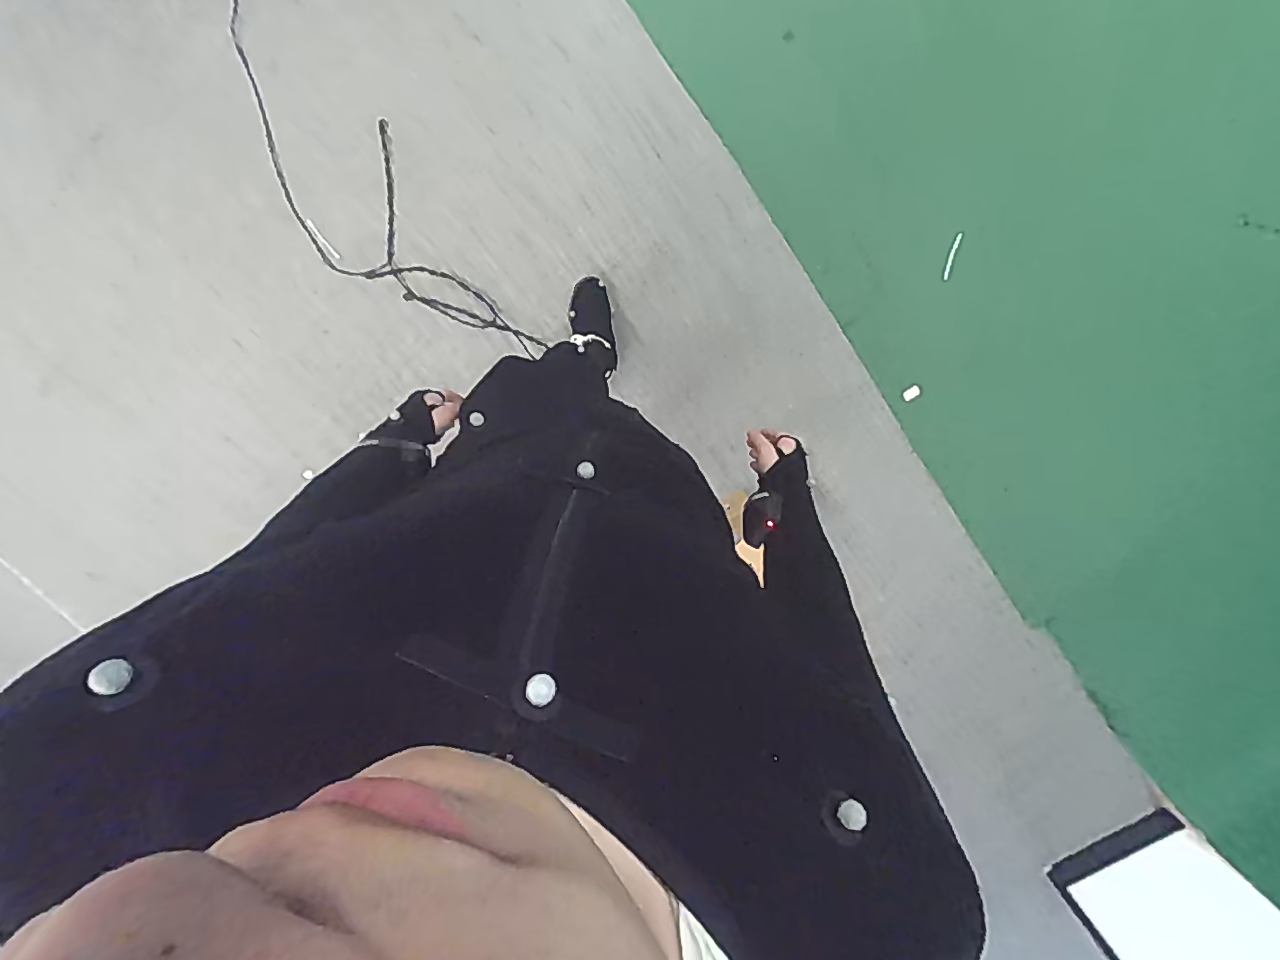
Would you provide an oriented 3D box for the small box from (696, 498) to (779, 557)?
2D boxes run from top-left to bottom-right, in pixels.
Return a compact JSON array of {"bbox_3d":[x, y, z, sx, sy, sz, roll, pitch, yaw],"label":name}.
[{"bbox_3d":[0.280,0.169,1.597,0.168,0.176,0.179,-32,103,9],"label":"small box"}]
